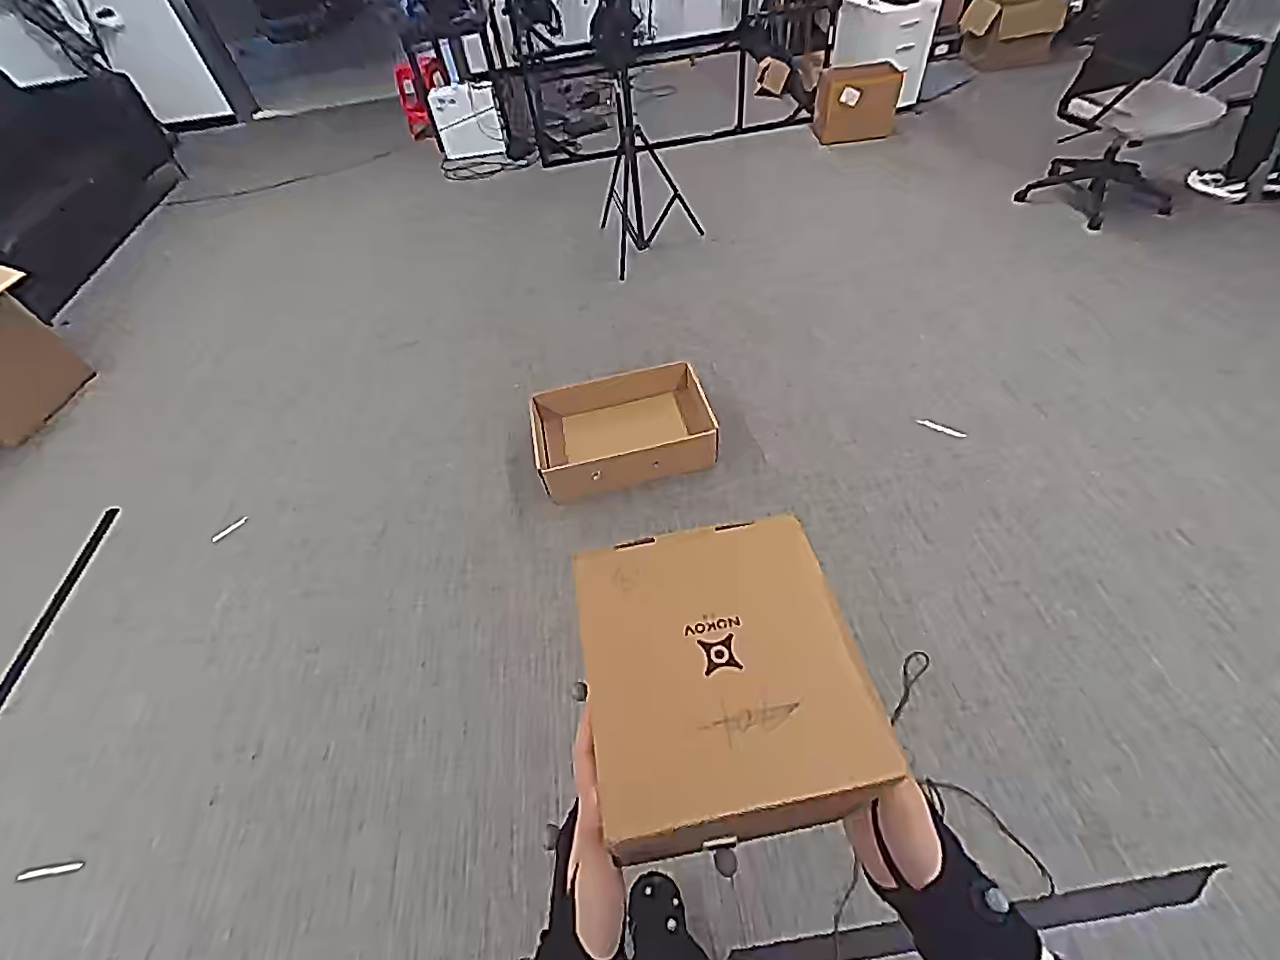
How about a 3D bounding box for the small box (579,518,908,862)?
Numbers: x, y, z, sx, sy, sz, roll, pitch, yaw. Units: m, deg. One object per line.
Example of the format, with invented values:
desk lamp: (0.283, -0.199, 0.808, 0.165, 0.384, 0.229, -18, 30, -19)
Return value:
small box: (0.053, 0.156, 0.399, 0.168, 0.176, 0.179, -10, 52, -5)
